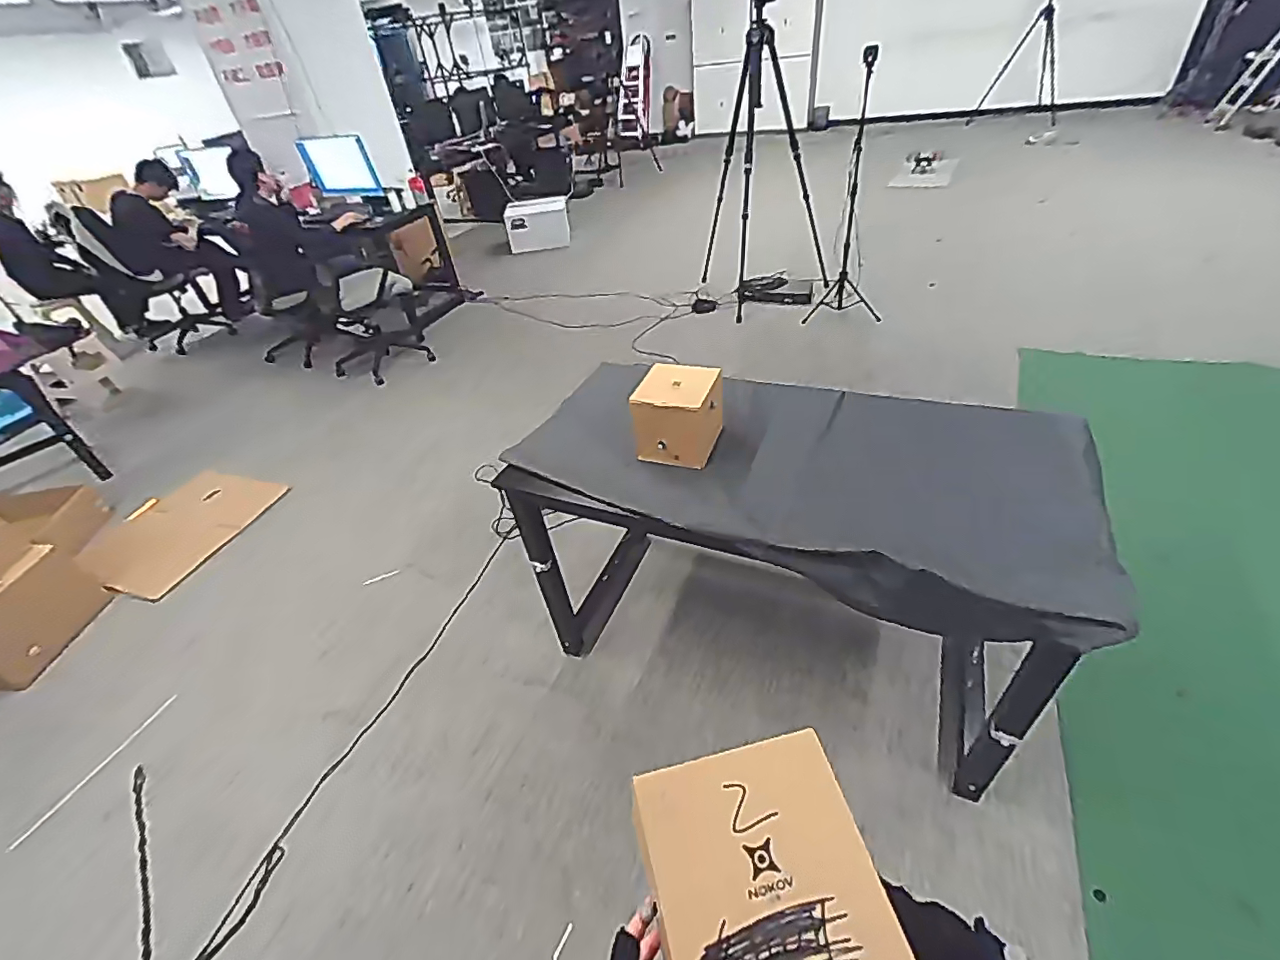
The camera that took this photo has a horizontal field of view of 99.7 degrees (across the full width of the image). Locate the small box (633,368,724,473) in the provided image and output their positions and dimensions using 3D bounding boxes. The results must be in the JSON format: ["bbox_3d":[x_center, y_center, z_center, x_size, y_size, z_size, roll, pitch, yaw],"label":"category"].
[{"bbox_3d":[0.096,-0.143,1.282,0.168,0.176,0.179,10,43,20],"label":"small box"}]
